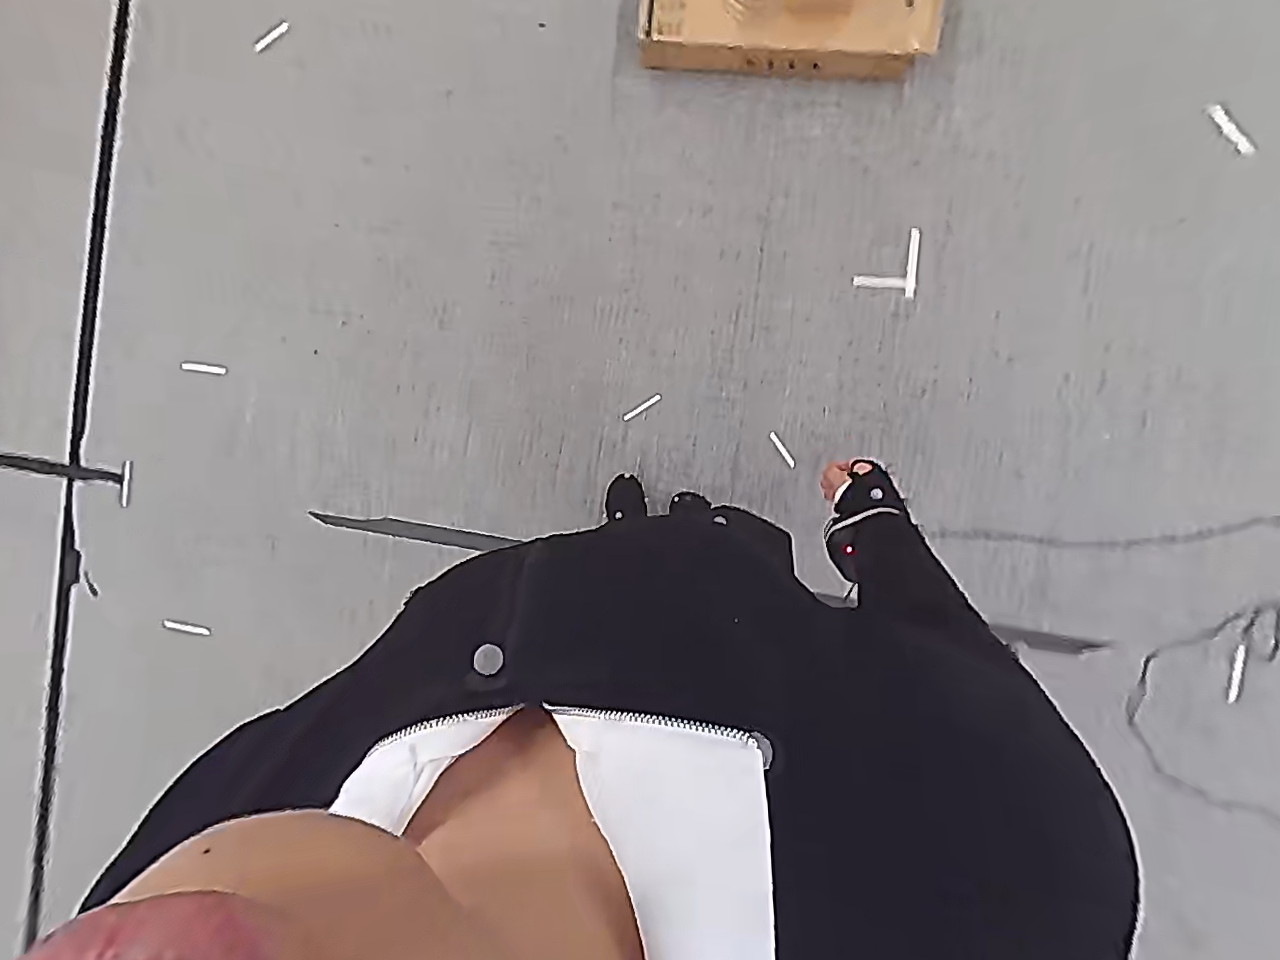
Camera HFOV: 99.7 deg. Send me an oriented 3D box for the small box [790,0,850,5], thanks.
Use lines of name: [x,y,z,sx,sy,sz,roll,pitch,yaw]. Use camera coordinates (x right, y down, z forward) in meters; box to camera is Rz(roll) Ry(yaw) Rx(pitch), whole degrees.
small box: [0.432,-1.246,1.246,0.168,0.176,0.179,5,92,6]
